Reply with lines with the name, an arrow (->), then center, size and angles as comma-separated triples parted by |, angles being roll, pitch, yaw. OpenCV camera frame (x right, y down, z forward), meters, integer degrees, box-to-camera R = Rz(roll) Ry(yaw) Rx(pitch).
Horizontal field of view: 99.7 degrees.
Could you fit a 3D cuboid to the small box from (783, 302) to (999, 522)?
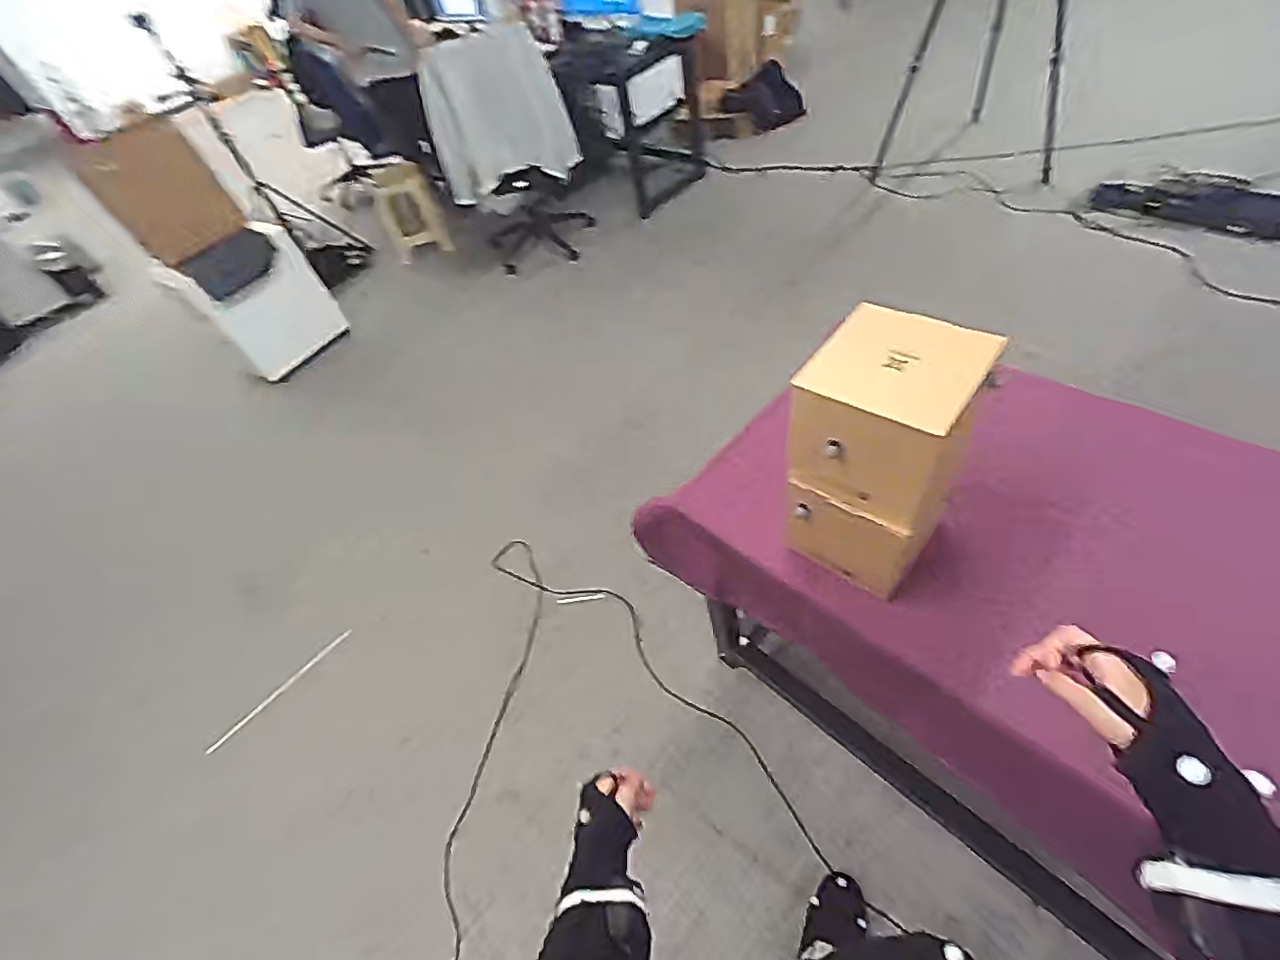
small box -> 0.290, -0.080, 0.651 | 0.168, 0.176, 0.179 | 28, 62, 31
